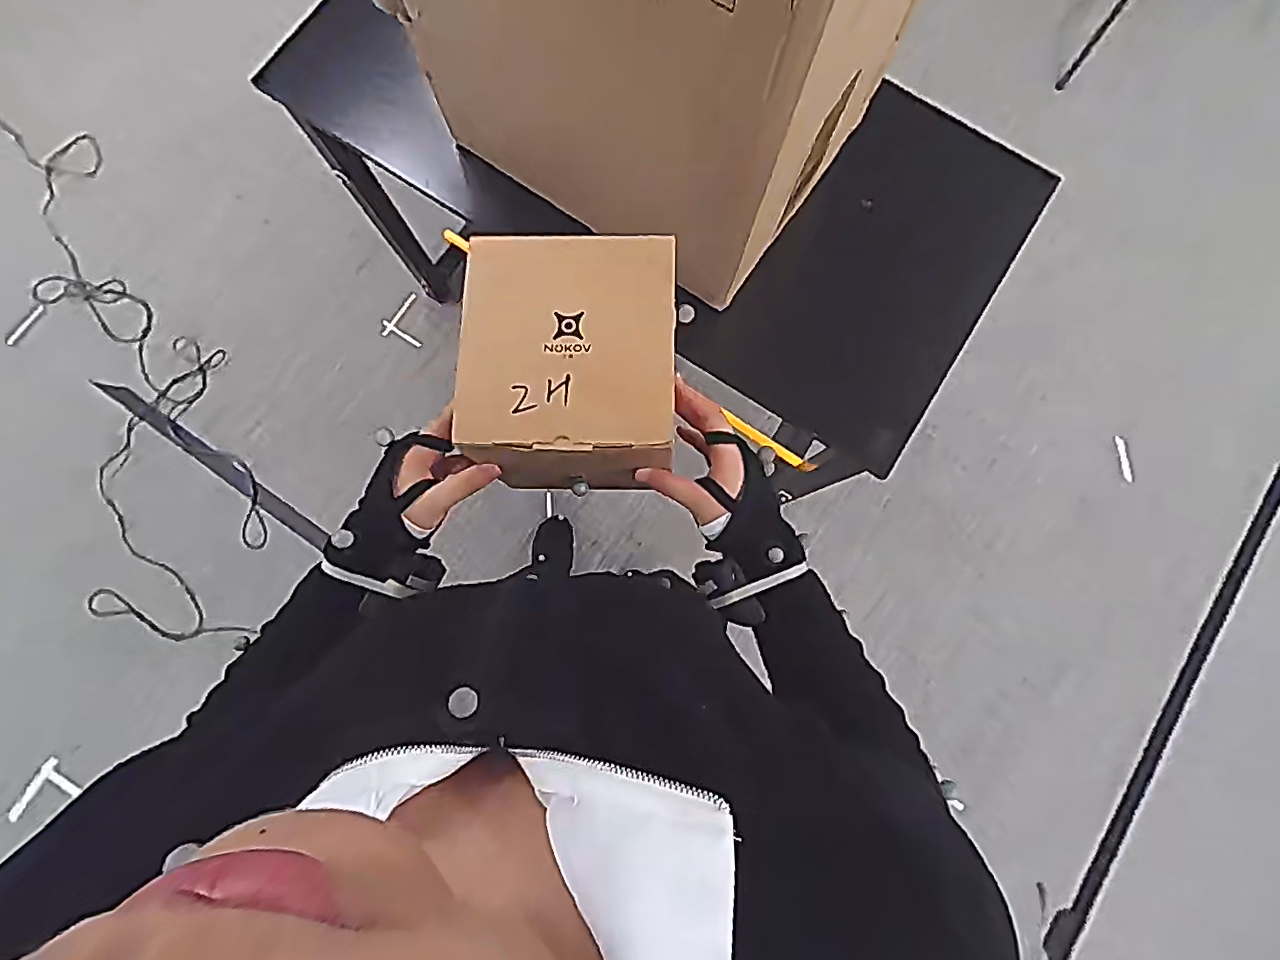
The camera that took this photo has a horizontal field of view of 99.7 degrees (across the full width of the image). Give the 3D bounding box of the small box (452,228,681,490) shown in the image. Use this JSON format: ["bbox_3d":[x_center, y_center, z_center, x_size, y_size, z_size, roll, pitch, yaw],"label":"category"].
[{"bbox_3d":[-0.052,-0.096,0.488,0.168,0.176,0.179,2,78,2],"label":"small box"}]
